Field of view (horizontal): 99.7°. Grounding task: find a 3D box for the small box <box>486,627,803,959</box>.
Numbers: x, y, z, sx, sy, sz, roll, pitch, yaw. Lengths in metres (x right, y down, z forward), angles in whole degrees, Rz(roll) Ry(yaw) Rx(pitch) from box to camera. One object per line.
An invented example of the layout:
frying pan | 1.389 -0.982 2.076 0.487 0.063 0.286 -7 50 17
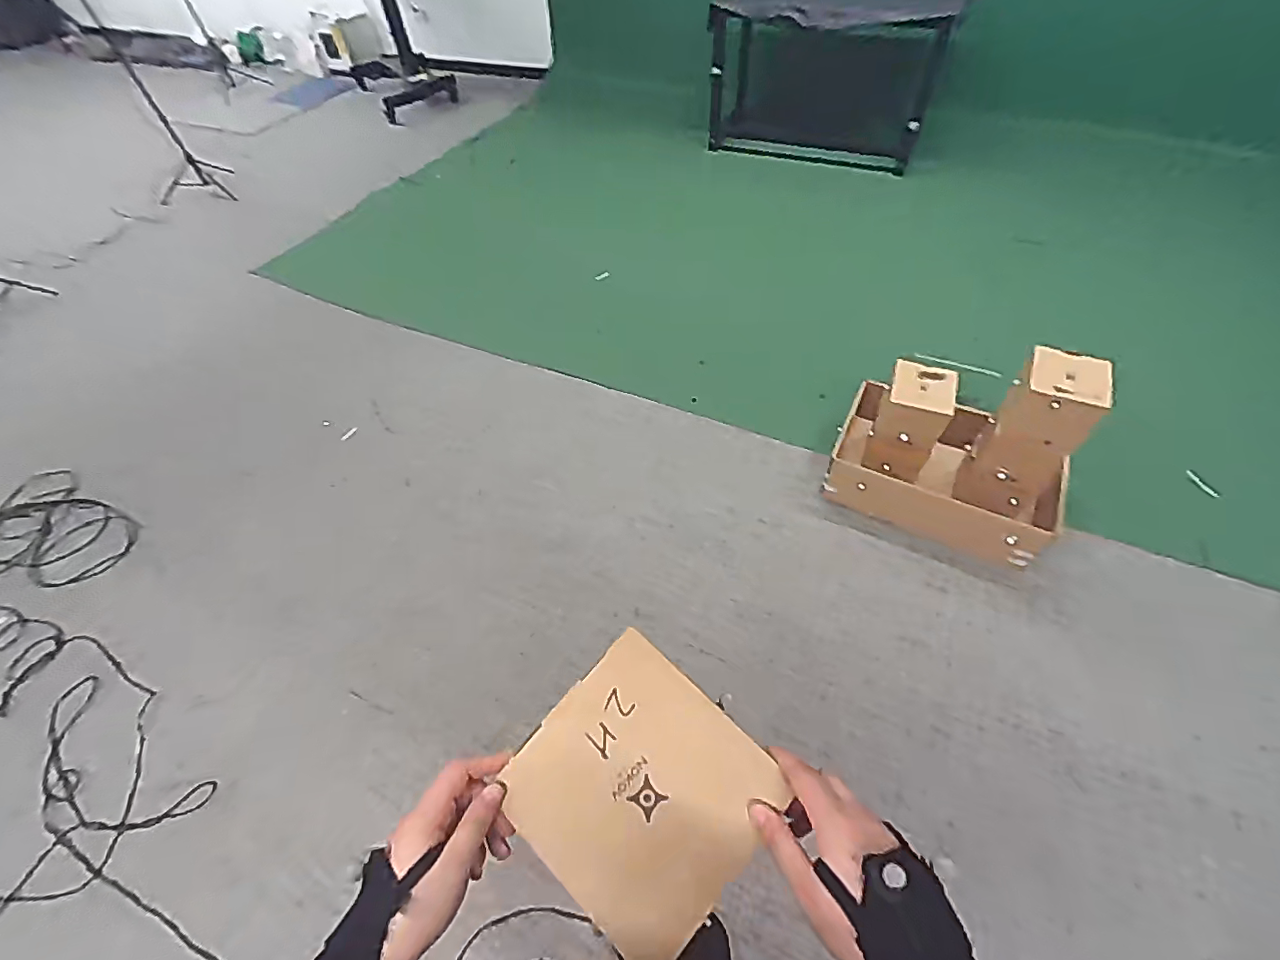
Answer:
small box | 0.007 0.253 0.468 0.179 0.176 0.168 40 76 17

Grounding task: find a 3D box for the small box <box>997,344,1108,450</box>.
small box | 1.024 -0.207 1.350 0.168 0.176 0.179 19 56 20

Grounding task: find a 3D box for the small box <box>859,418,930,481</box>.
small box | 0.814 -0.127 1.720 0.168 0.176 0.179 18 57 16

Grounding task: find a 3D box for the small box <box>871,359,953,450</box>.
small box | 0.793 -0.219 1.584 0.168 0.176 0.179 16 58 15

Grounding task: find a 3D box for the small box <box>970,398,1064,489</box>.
small box | 1.036 -0.108 1.481 0.168 0.176 0.179 22 59 21
